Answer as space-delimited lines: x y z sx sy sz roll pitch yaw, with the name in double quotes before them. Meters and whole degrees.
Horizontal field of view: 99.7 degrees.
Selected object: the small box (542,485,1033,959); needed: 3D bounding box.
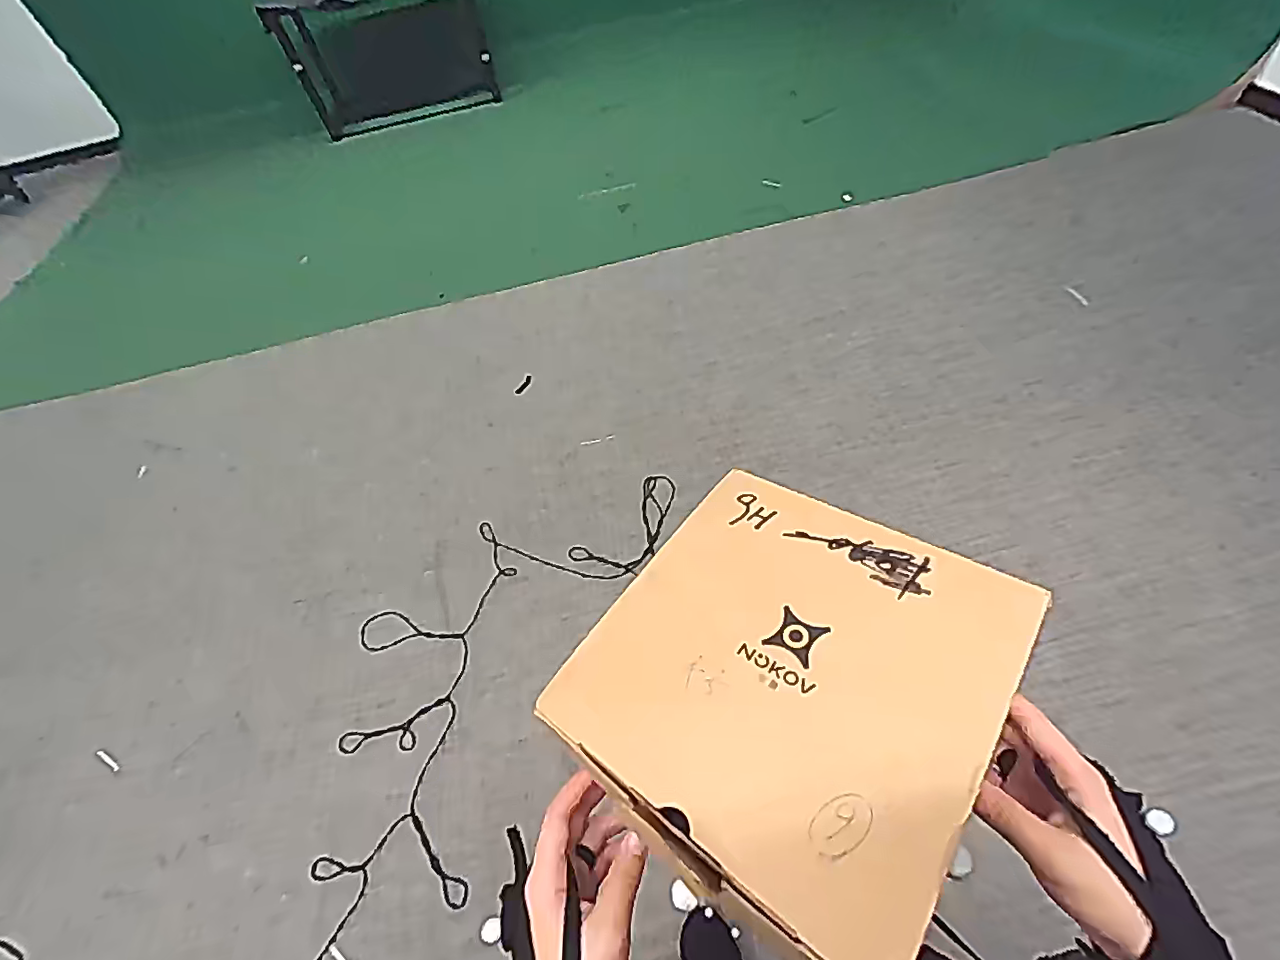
"small box" 0.082 0.140 0.308 0.168 0.176 0.179 25 58 33
